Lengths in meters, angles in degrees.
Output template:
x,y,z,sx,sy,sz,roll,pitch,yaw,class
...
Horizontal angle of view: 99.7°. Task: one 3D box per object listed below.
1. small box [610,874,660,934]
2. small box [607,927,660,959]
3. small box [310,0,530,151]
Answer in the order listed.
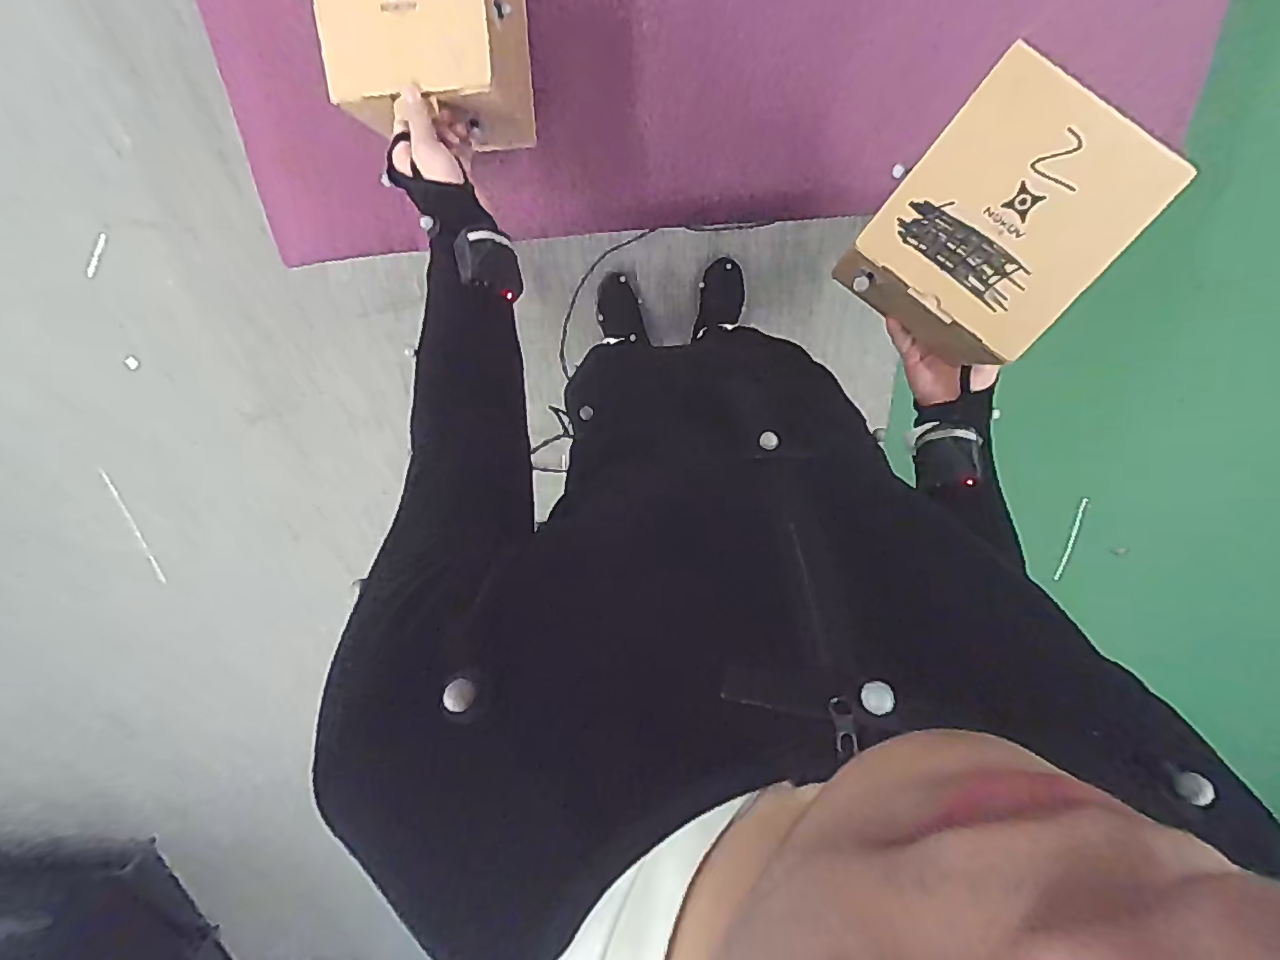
x,y,z,sx,sy,sz,roll,pitch,yaw,class
-0.015,1.508,1.869,0.168,0.176,0.179,0,114,2,small box
-0.021,1.572,1.720,0.168,0.176,0.179,0,113,3,small box
-0.222,-0.472,0.579,0.168,0.176,0.179,-1,104,5,small box
